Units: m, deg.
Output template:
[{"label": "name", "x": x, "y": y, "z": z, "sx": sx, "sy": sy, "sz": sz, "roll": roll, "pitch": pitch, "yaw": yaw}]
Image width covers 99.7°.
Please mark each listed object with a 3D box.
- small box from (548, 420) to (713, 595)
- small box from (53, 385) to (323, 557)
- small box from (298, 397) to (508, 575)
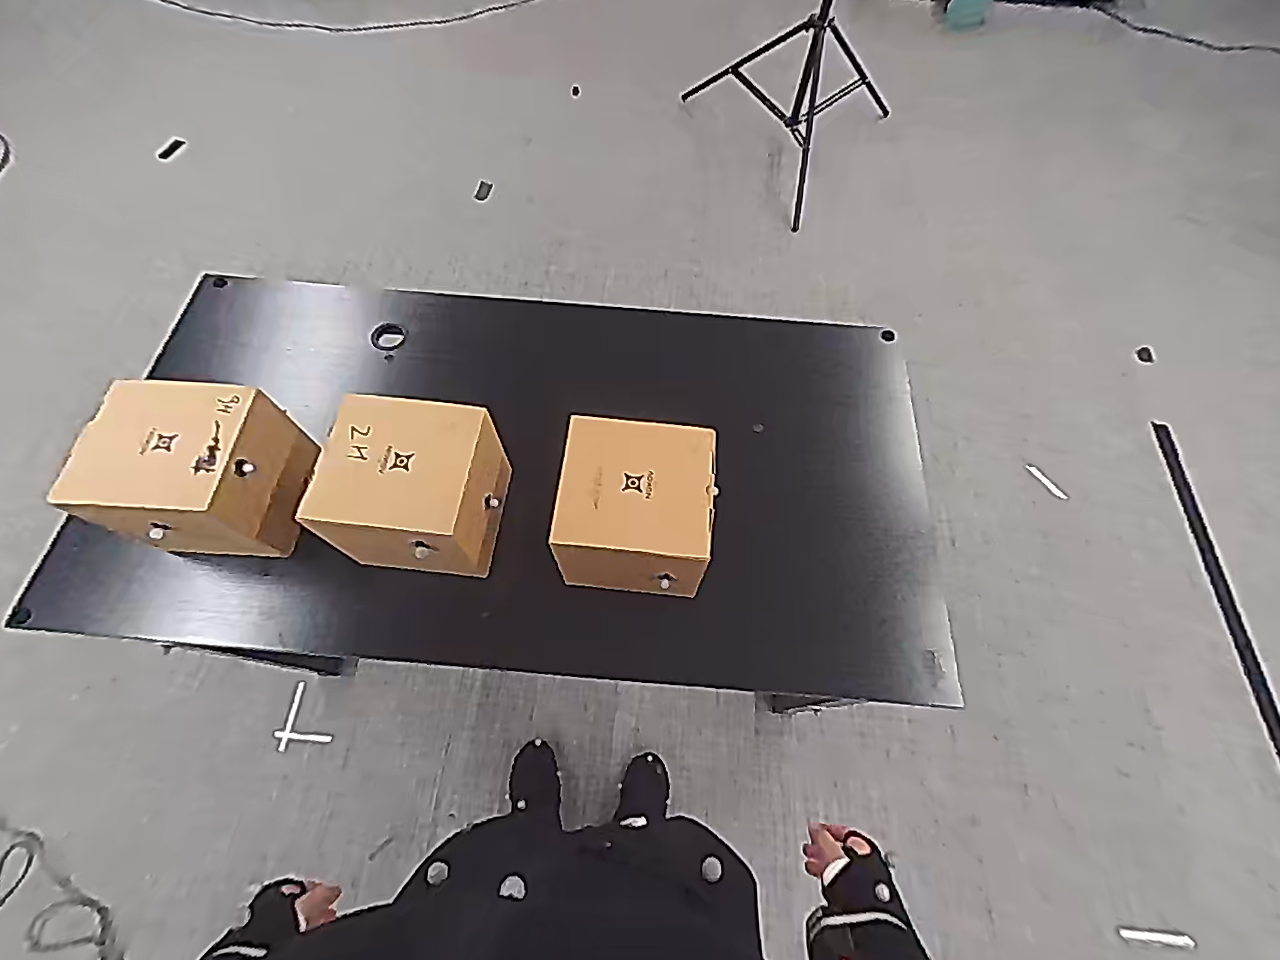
[{"label": "small box", "x": -0.007, "y": 0.043, "z": 0.686, "sx": 0.179, "sy": 0.176, "sz": 0.168, "roll": 4, "pitch": 63, "yaw": 2}, {"label": "small box", "x": -0.552, "y": -0.005, "z": 0.694, "sx": 0.179, "sy": 0.176, "sz": 0.168, "roll": 2, "pitch": 65, "yaw": 0}, {"label": "small box", "x": -0.280, "y": 0.017, "z": 0.690, "sx": 0.179, "sy": 0.176, "sz": 0.168, "roll": 6, "pitch": 64, "yaw": 2}]
